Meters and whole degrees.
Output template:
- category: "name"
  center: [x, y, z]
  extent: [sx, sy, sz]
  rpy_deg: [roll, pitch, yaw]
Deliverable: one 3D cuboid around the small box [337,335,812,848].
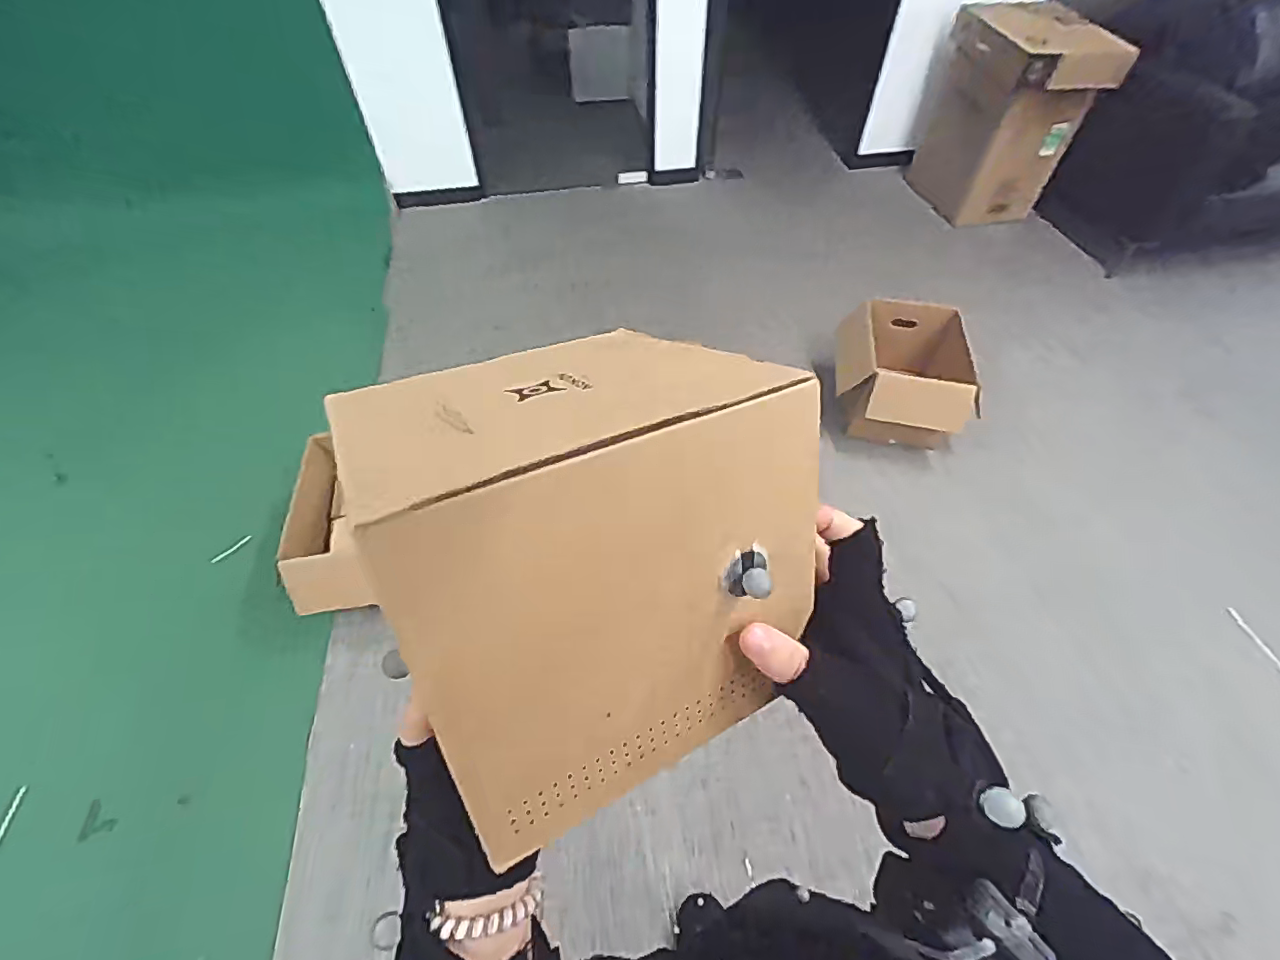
- category: "small box"
  center: [-0.035, 0.035, 0.286]
  extent: [0.179, 0.176, 0.168]
  rpy_deg: [-20, 29, -23]
